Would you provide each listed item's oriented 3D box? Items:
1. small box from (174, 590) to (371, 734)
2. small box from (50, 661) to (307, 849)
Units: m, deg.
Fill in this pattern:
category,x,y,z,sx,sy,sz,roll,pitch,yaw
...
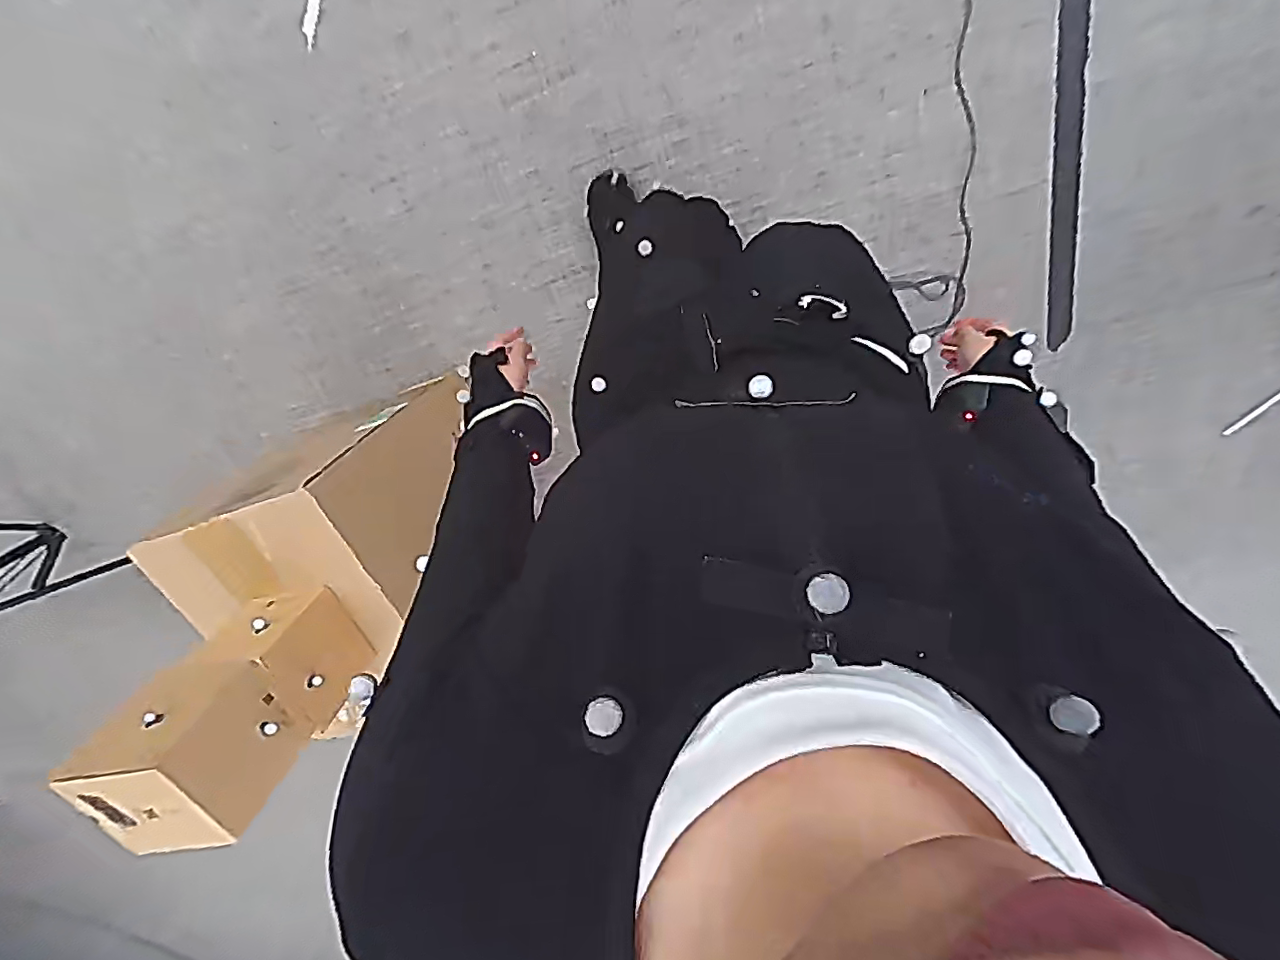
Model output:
category,x,y,z,sx,sy,sz,roll,pitch,yaw
small box,-0.593,0.301,0.900,0.168,0.176,0.179,-12,118,12
small box,-0.622,0.379,0.757,0.179,0.176,0.168,-12,118,11
